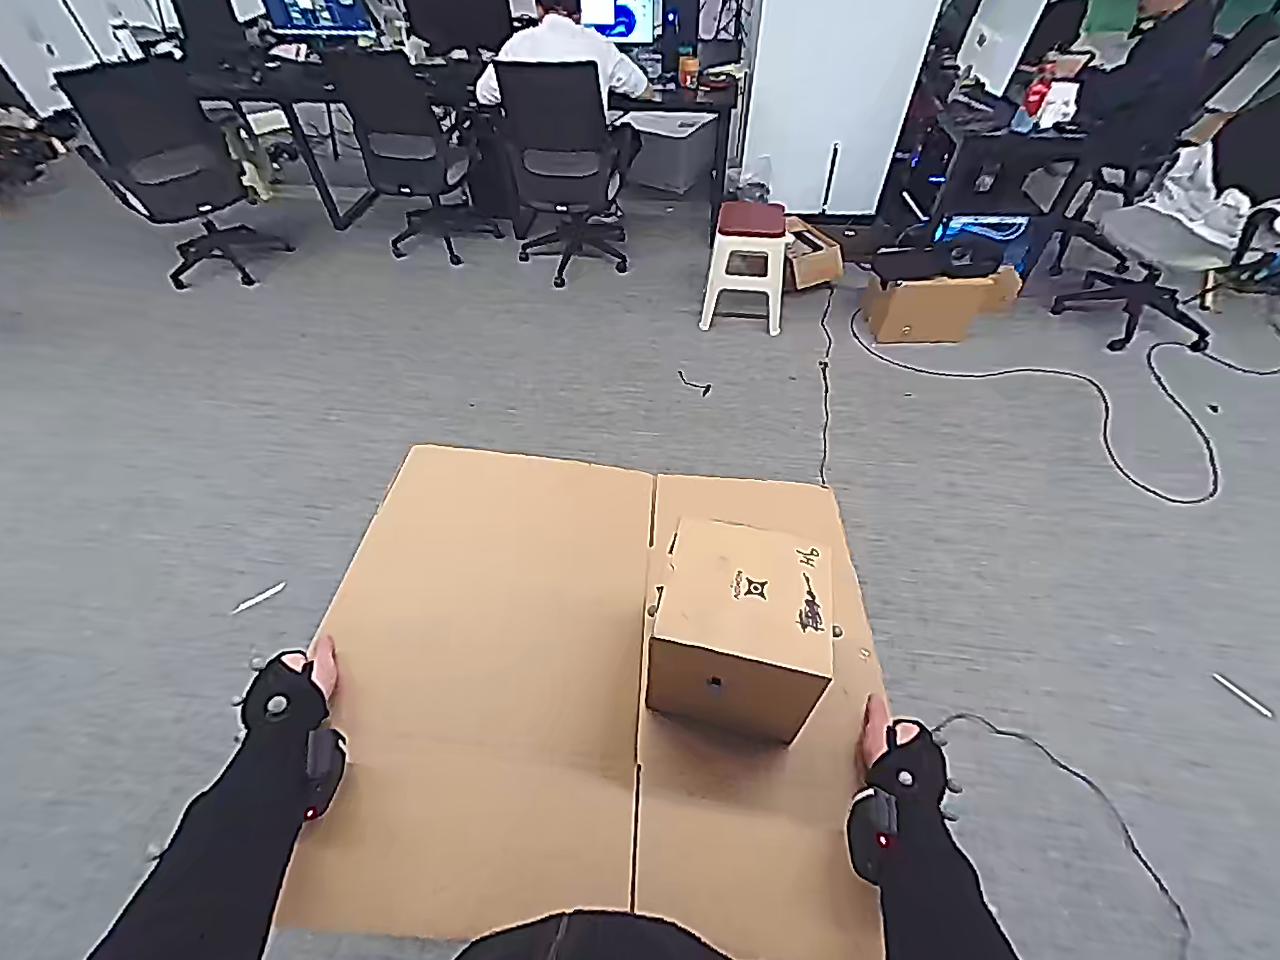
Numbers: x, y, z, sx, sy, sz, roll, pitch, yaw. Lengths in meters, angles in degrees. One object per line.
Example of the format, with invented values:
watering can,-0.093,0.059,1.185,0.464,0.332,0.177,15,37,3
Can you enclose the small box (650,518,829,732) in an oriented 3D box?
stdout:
small box,0.112,0.171,0.632,0.179,0.176,0.168,10,46,9
